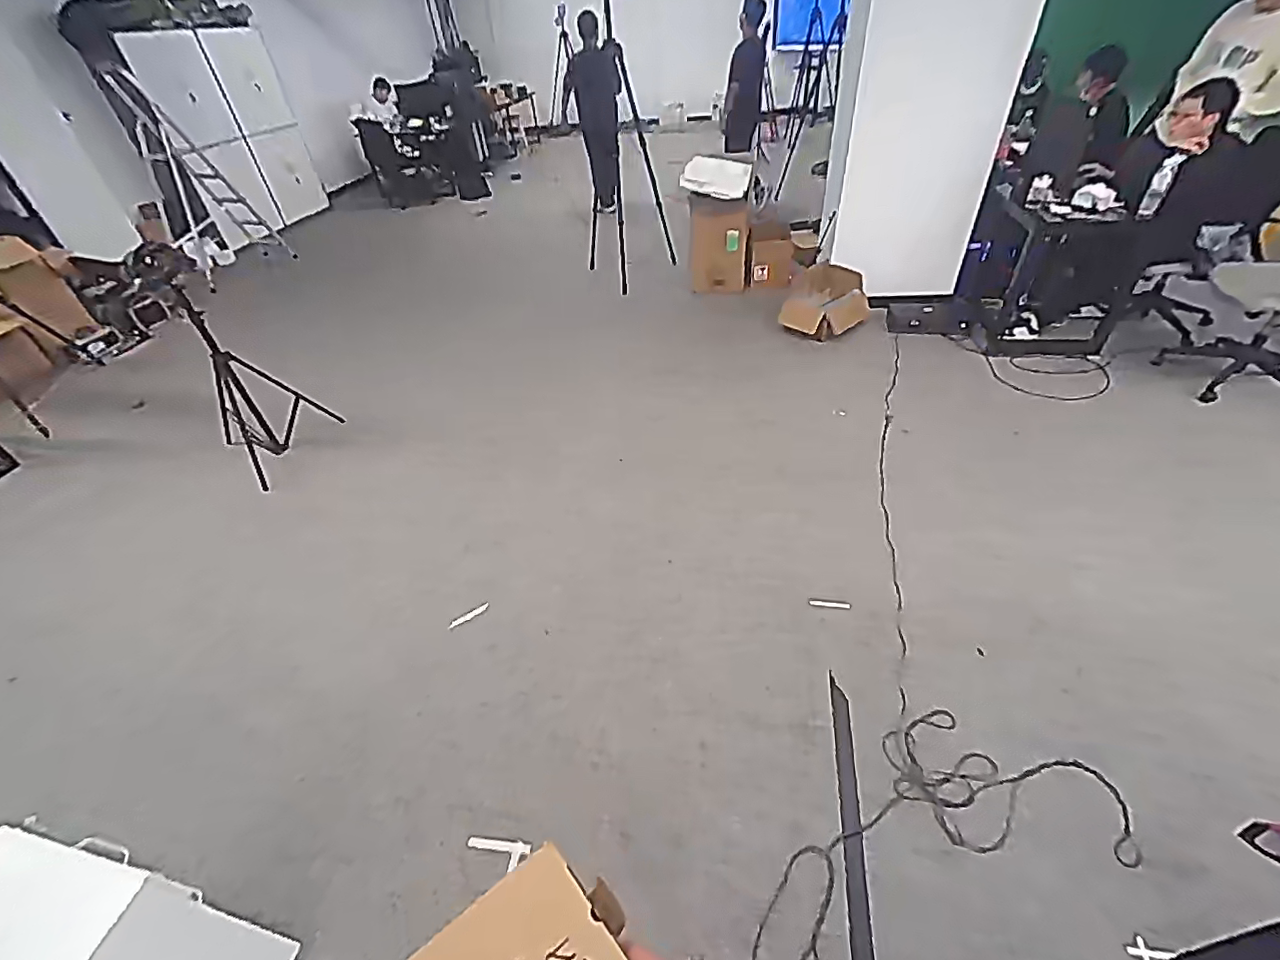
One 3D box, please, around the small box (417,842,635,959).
[{"bbox_3d":[-0.095,0.499,0.496,0.179,0.176,0.168,-26,40,-32],"label":"small box"}]
